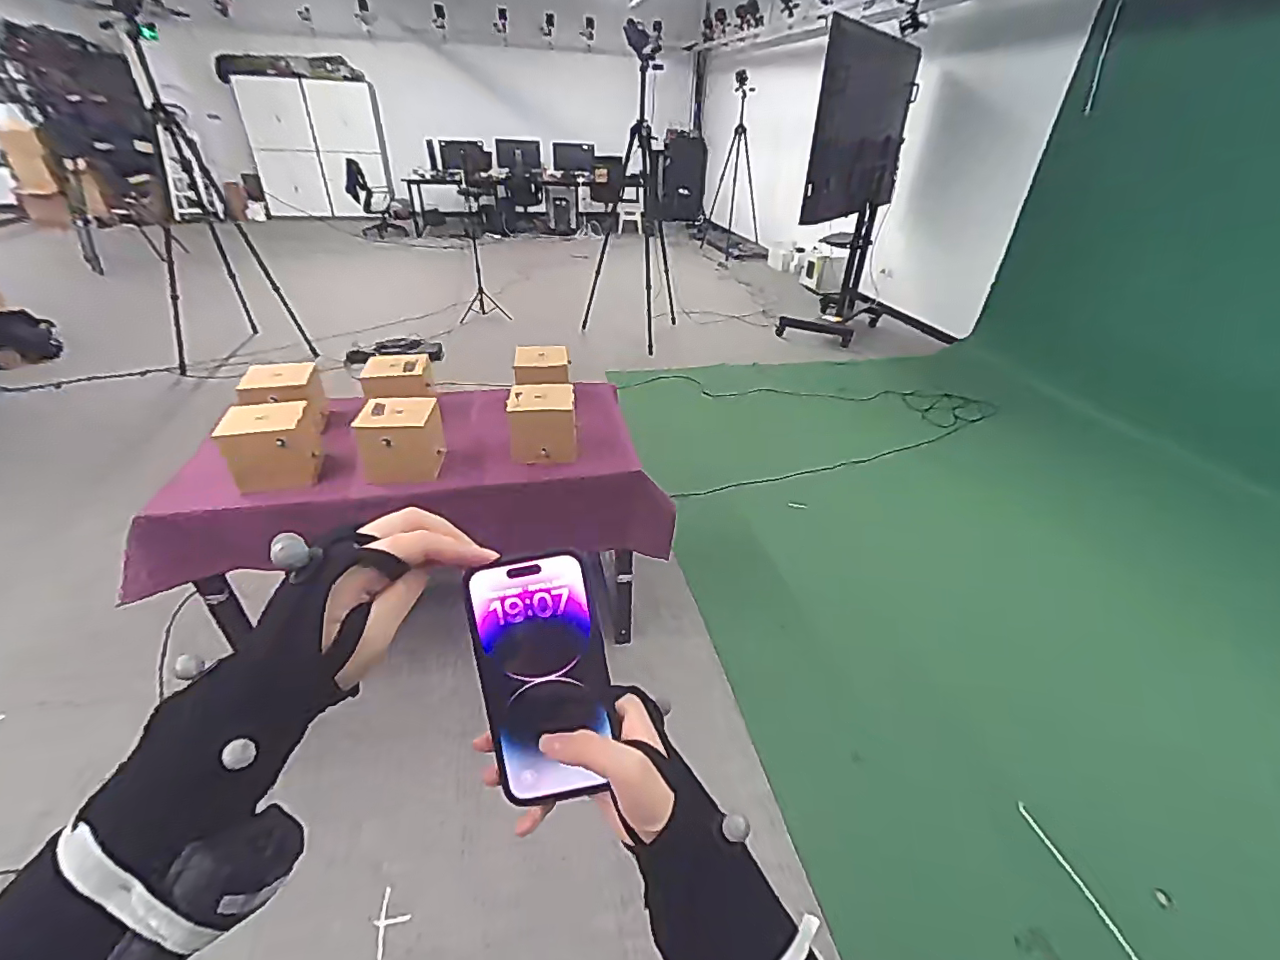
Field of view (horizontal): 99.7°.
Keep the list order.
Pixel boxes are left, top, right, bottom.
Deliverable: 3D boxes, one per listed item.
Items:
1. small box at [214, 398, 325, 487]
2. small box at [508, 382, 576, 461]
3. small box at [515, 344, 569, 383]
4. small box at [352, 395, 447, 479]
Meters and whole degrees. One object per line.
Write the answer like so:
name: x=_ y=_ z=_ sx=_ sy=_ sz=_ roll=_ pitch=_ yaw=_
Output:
small box: x=-0.934 y=-0.094 z=1.380 sx=0.179 sy=0.176 sz=0.168 roll=-7 pitch=35 yaw=-17
small box: x=-0.270 y=-0.163 z=1.526 sx=0.179 sy=0.176 sz=0.168 roll=-1 pitch=34 yaw=-5
small box: x=-0.319 y=-0.338 z=1.782 sx=0.168 sy=0.176 sz=0.179 roll=-3 pitch=35 yaw=-8
small box: x=-0.624 y=-0.113 z=1.428 sx=0.179 sy=0.176 sz=0.168 roll=-1 pitch=34 yaw=-7
